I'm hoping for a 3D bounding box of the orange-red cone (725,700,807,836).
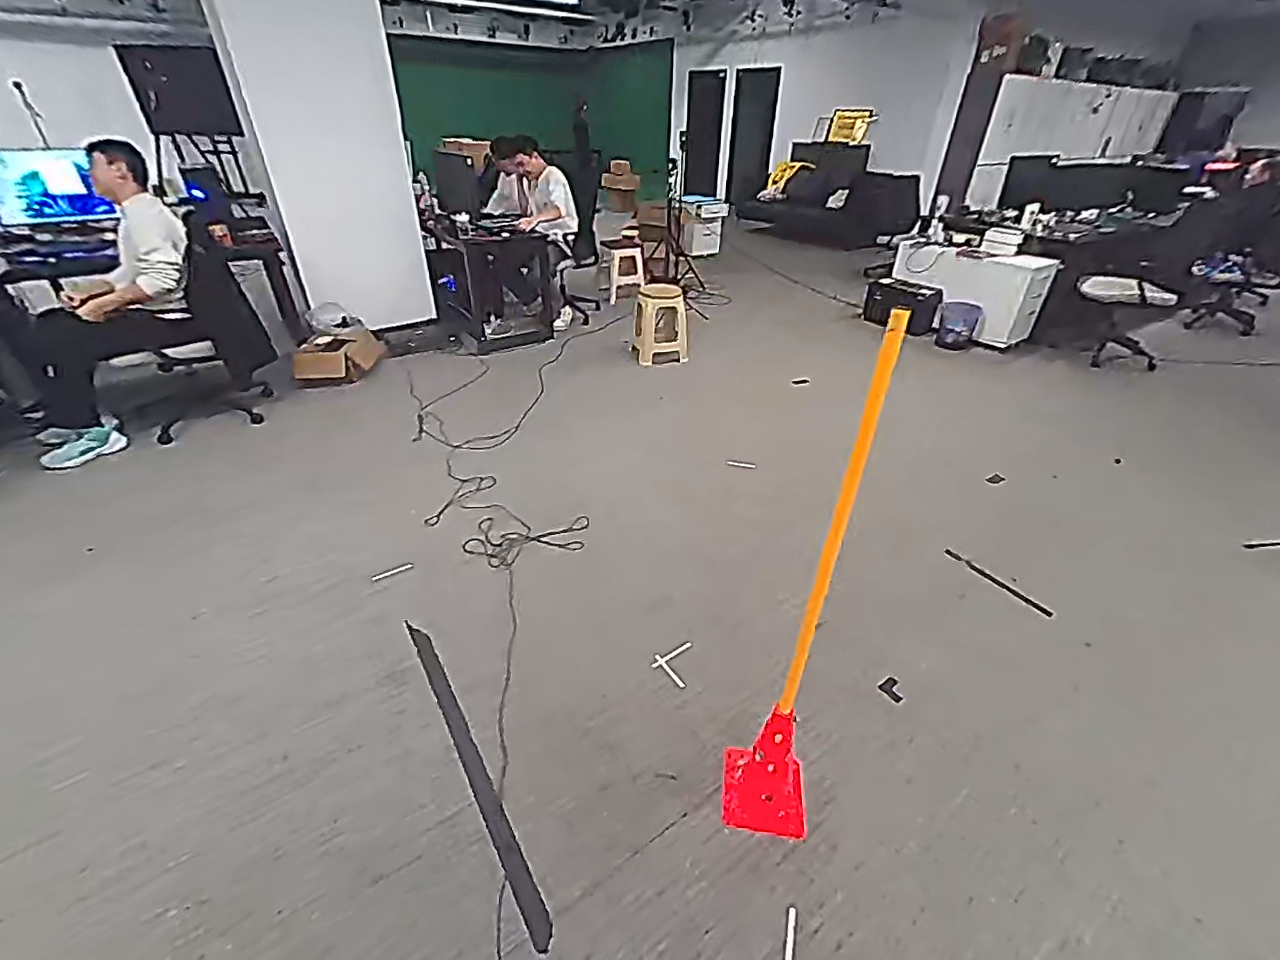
[{"bbox_3d":[0.315,0.636,1.264,0.198,0.360,0.199,6,36,9],"label":"orange-red cone"}]
